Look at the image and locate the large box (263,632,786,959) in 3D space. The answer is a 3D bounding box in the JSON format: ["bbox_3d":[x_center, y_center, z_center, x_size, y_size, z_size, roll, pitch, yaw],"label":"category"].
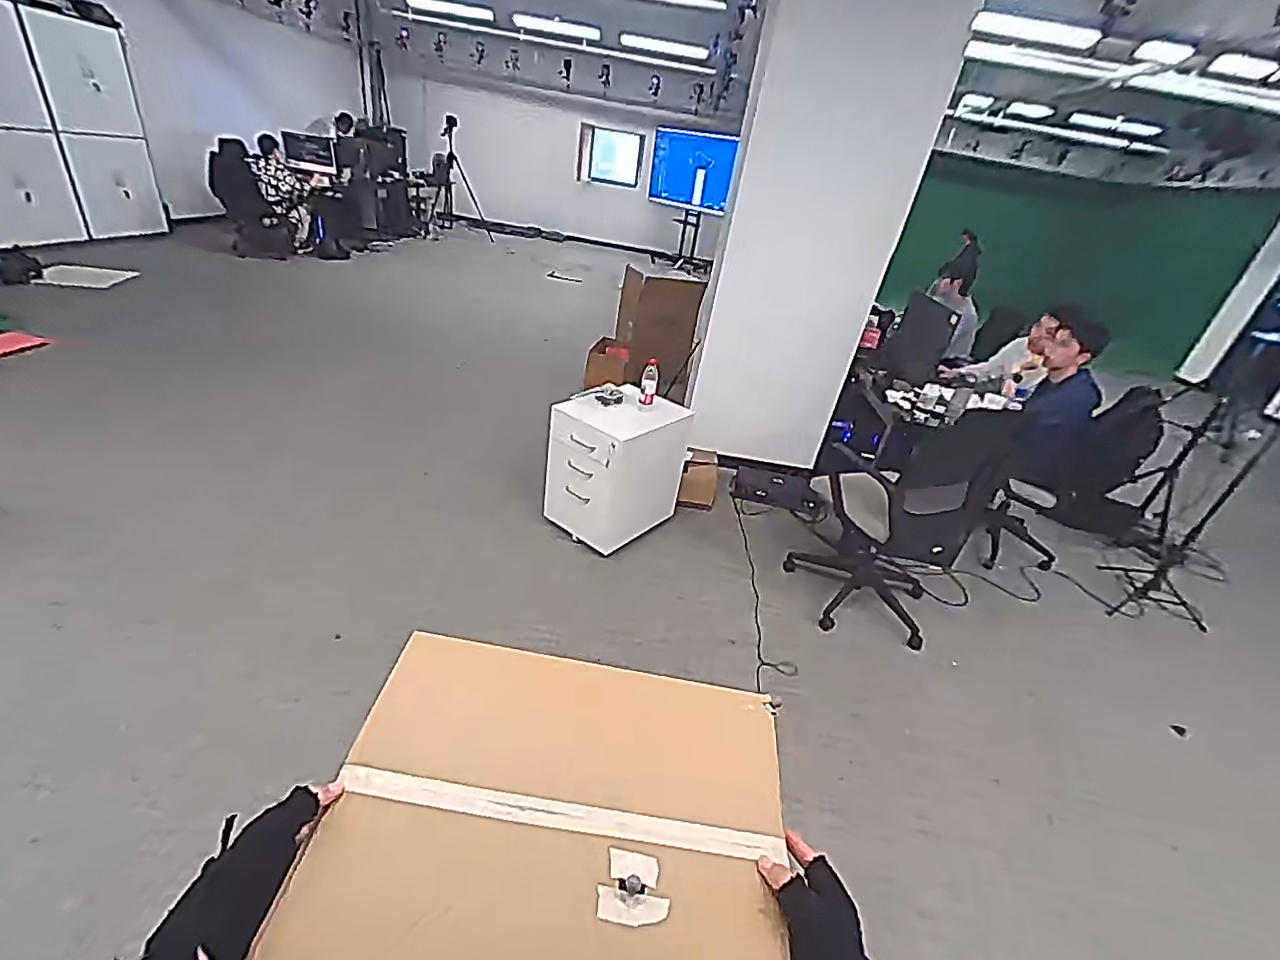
[{"bbox_3d":[-0.093,0.415,0.592,0.408,0.320,0.320,11,39,-1],"label":"large box"}]
